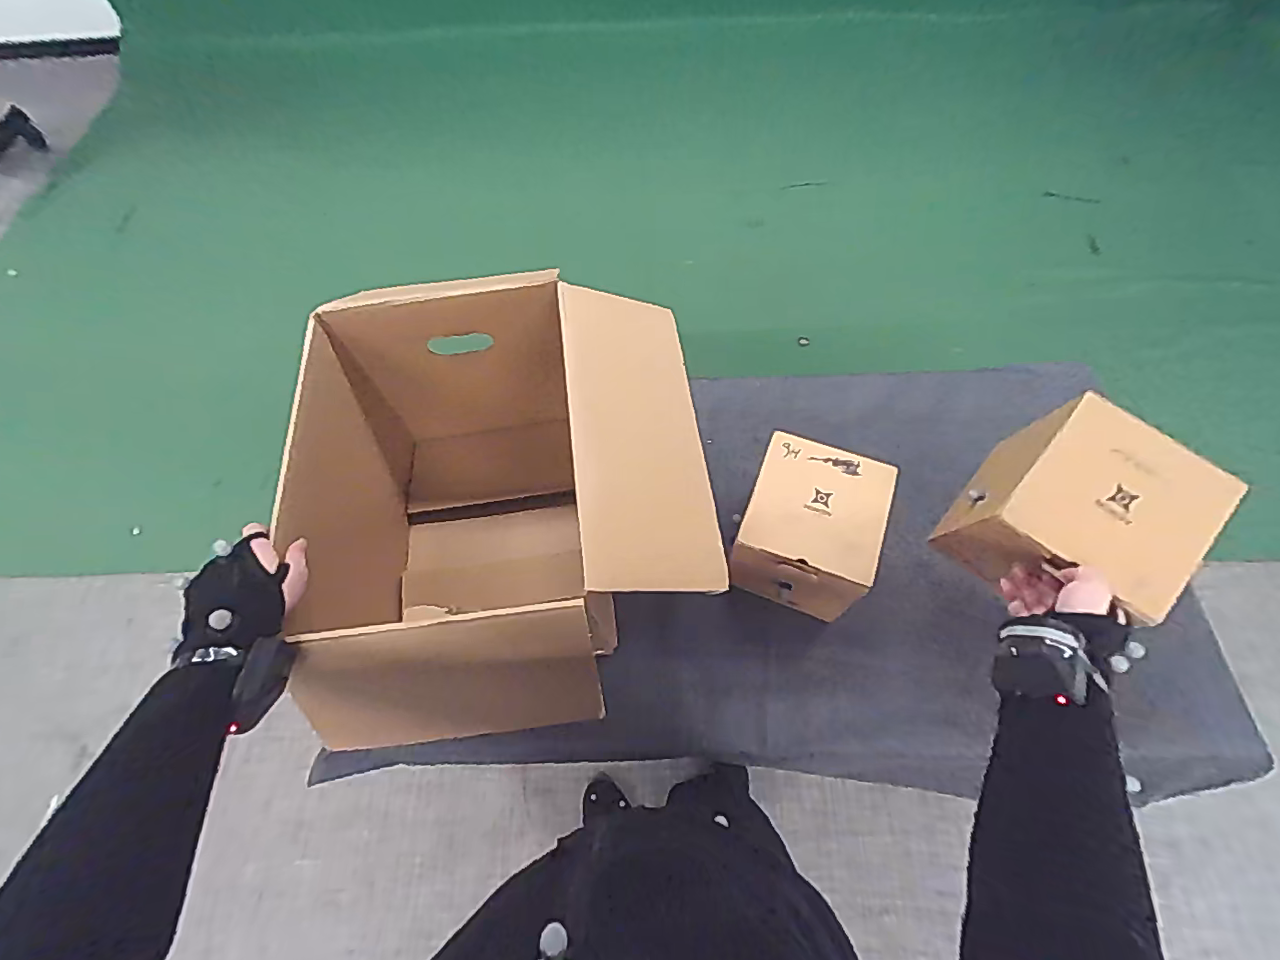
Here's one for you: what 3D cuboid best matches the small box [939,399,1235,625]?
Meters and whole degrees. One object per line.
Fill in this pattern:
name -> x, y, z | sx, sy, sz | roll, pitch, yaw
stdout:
small box -> 0.478, 0.048, 0.613 | 0.168, 0.176, 0.179 | 38, 79, 13
